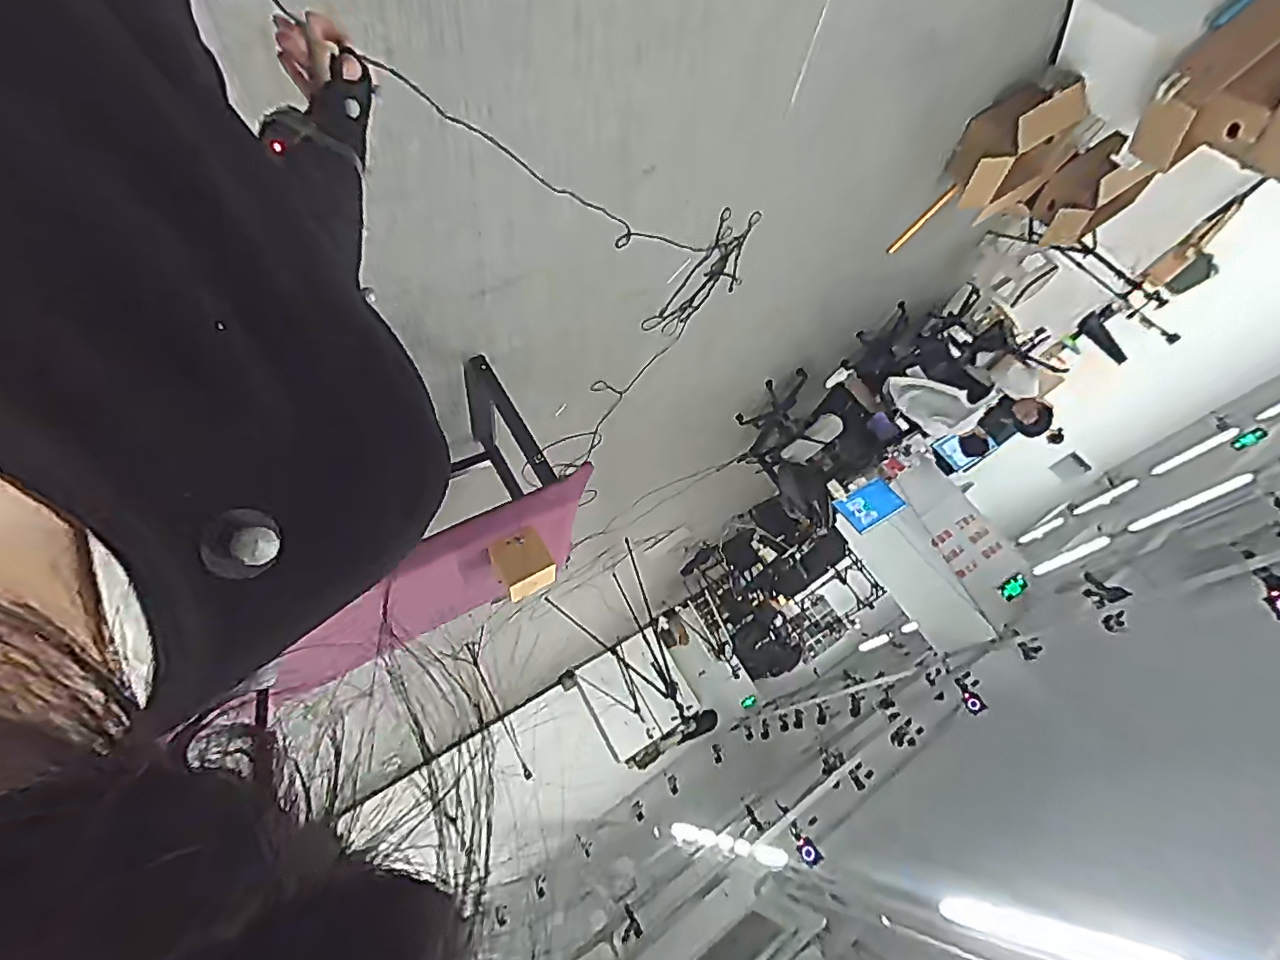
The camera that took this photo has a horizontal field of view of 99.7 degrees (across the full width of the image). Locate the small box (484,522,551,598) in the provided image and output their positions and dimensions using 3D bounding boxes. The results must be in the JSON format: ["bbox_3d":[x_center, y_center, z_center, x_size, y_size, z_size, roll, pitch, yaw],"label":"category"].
[{"bbox_3d":[-0.414,0.266,1.824,0.168,0.176,0.179,-26,158,-23],"label":"small box"}]
